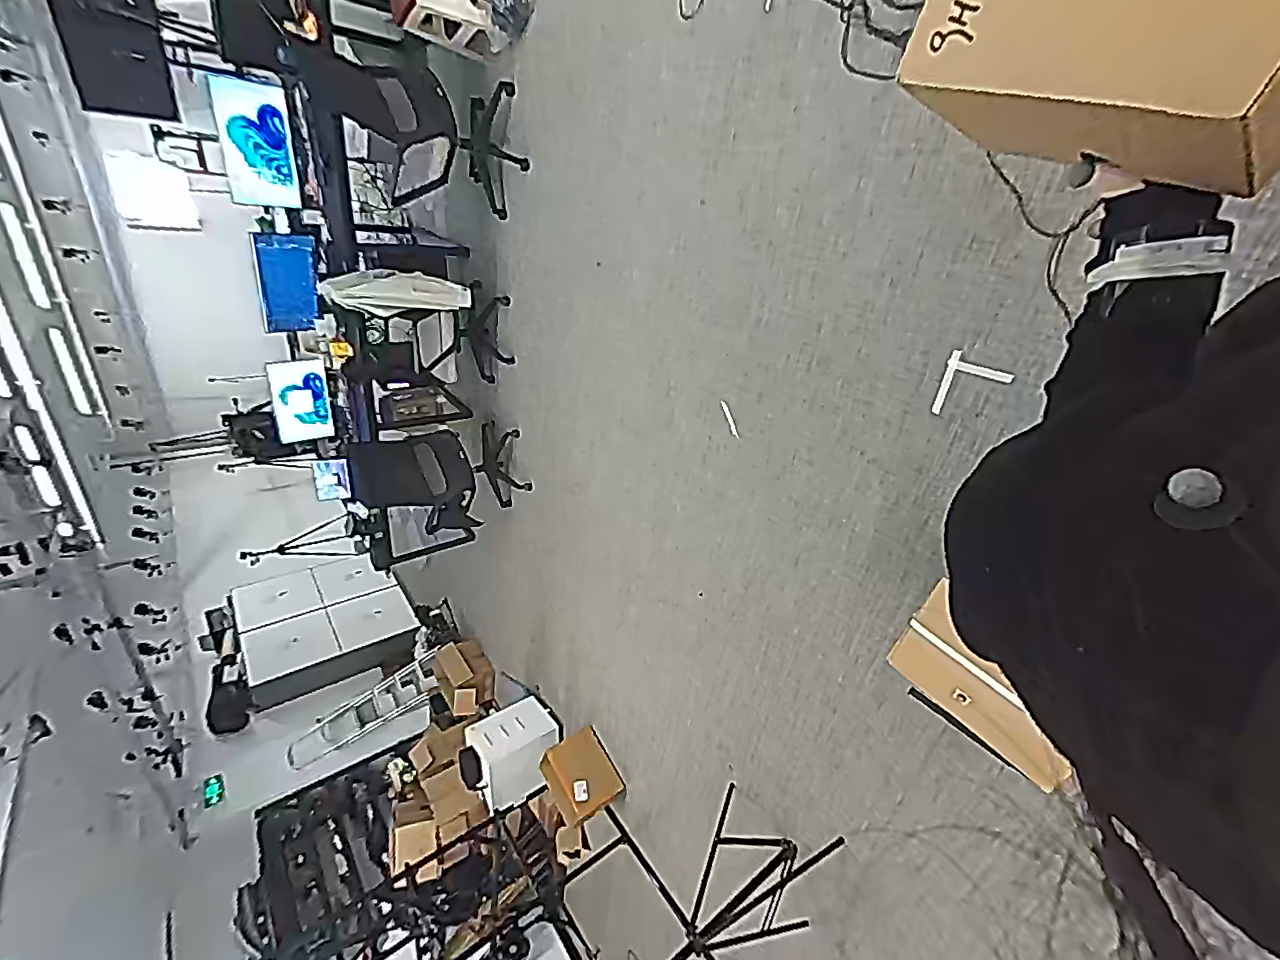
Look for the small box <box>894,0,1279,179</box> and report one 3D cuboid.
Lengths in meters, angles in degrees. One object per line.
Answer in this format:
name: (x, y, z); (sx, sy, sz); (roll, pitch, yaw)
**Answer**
small box: (0.288, -0.281, 0.294); (0.179, 0.176, 0.168); (42, 128, 36)
